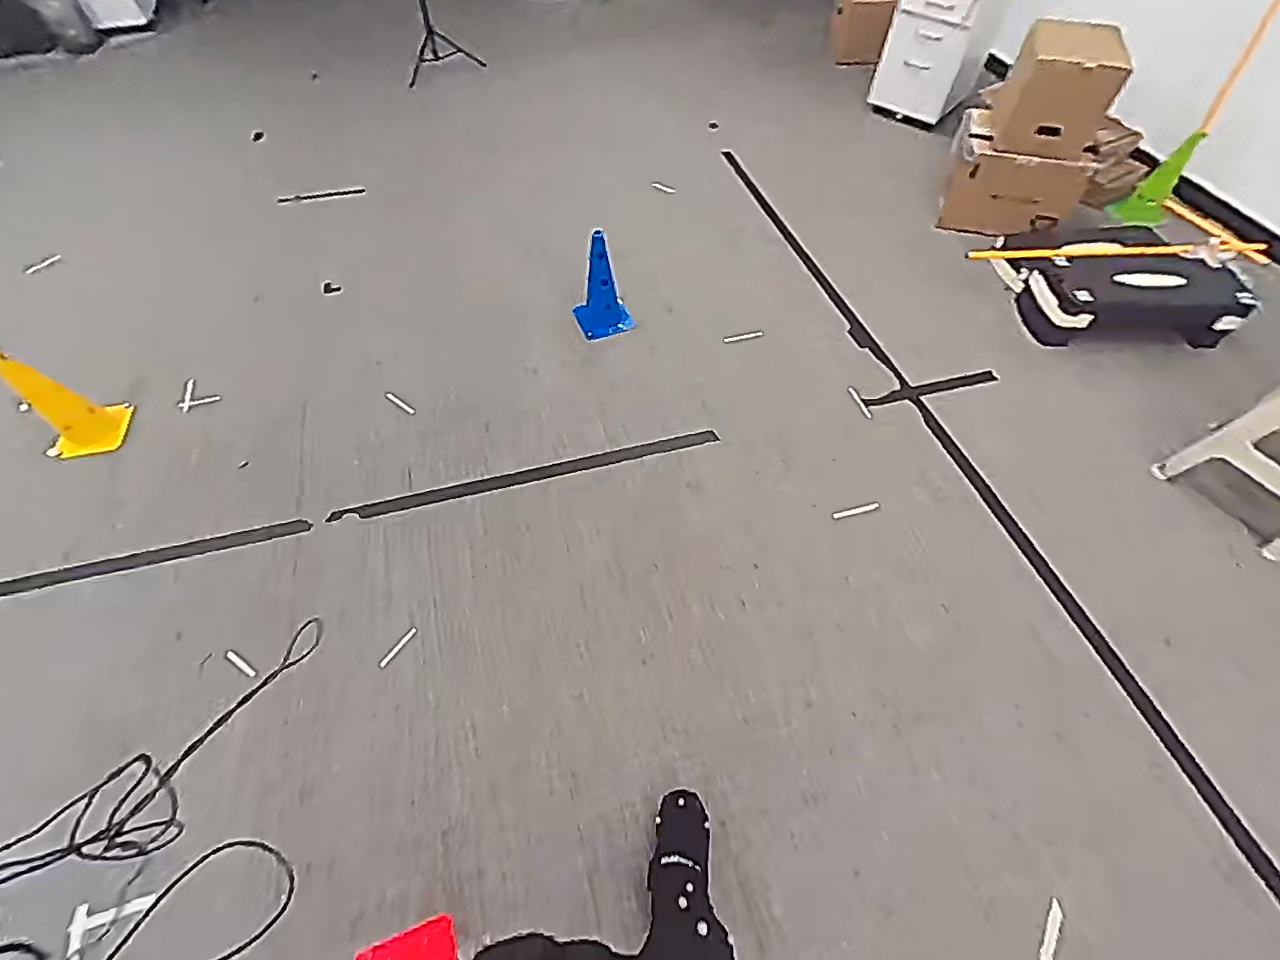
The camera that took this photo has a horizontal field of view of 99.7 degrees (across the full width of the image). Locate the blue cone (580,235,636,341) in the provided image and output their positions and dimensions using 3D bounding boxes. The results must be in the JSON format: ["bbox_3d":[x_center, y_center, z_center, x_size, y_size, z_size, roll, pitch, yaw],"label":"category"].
[{"bbox_3d":[-0.126,-0.712,1.963,0.193,0.380,0.192,-17,58,-11],"label":"blue cone"}]

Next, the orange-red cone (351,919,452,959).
[{"bbox_3d":[-0.452,0.897,0.897,0.199,0.360,0.198,-16,59,-12],"label":"orange-red cone"}]
